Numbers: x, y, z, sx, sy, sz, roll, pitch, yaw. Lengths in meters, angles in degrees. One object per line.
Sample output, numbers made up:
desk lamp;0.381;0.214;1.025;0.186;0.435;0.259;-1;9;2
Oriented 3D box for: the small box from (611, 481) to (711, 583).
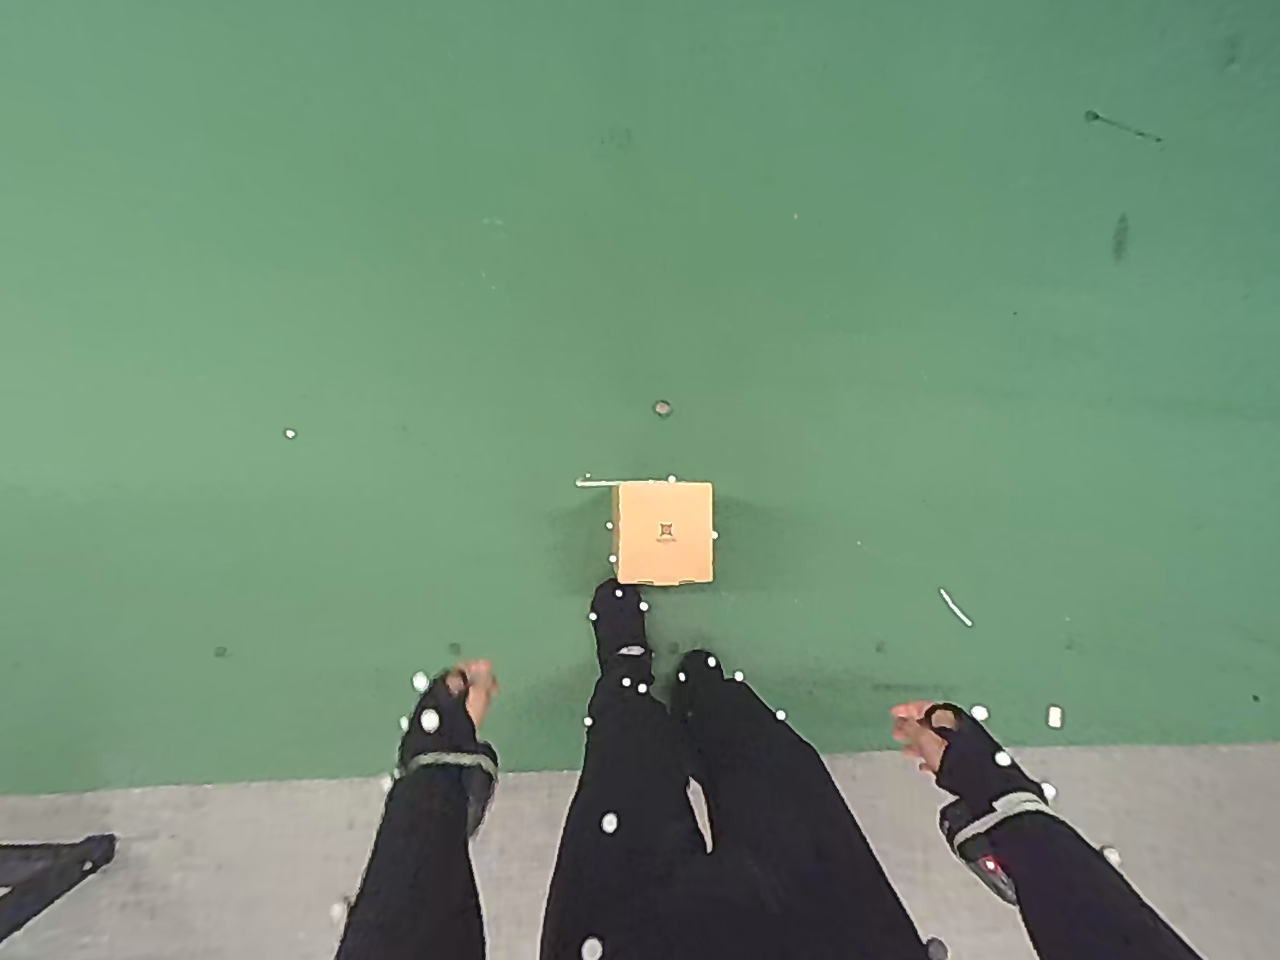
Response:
small box;0.032;0.094;1.009;0.168;0.176;0.179;1;88;-6
